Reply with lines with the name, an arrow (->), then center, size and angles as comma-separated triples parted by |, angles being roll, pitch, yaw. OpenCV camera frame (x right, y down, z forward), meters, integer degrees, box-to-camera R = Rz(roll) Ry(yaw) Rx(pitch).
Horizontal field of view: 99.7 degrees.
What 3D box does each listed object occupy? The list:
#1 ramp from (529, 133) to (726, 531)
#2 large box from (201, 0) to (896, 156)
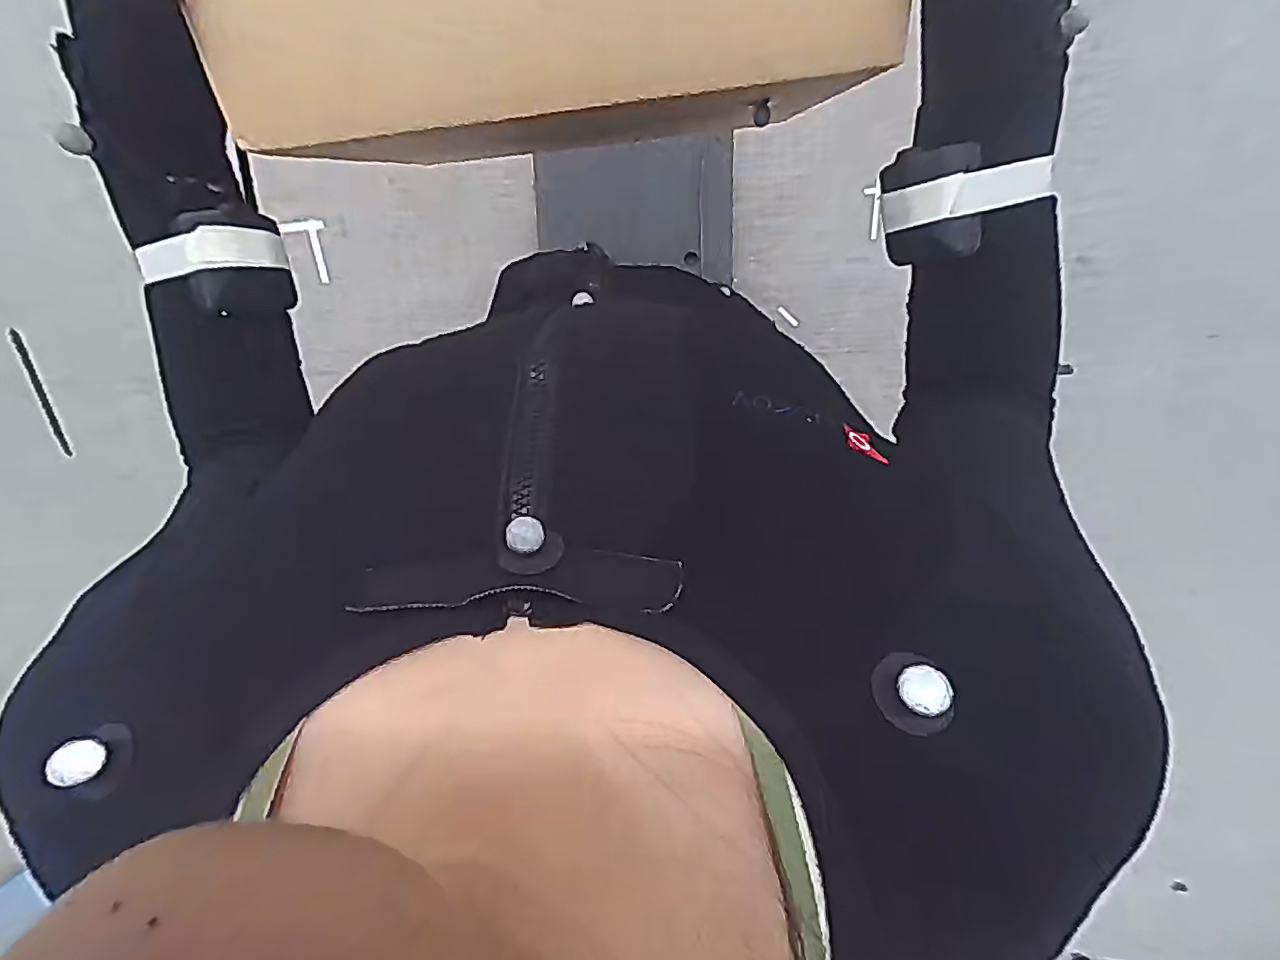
ramp -> -0.024, -0.349, 1.416 | 0.509, 0.206, 0.991 | -2, 110, 5
large box -> -0.061, -0.437, 0.389 | 0.408, 0.320, 0.320 | -5, 118, 3
